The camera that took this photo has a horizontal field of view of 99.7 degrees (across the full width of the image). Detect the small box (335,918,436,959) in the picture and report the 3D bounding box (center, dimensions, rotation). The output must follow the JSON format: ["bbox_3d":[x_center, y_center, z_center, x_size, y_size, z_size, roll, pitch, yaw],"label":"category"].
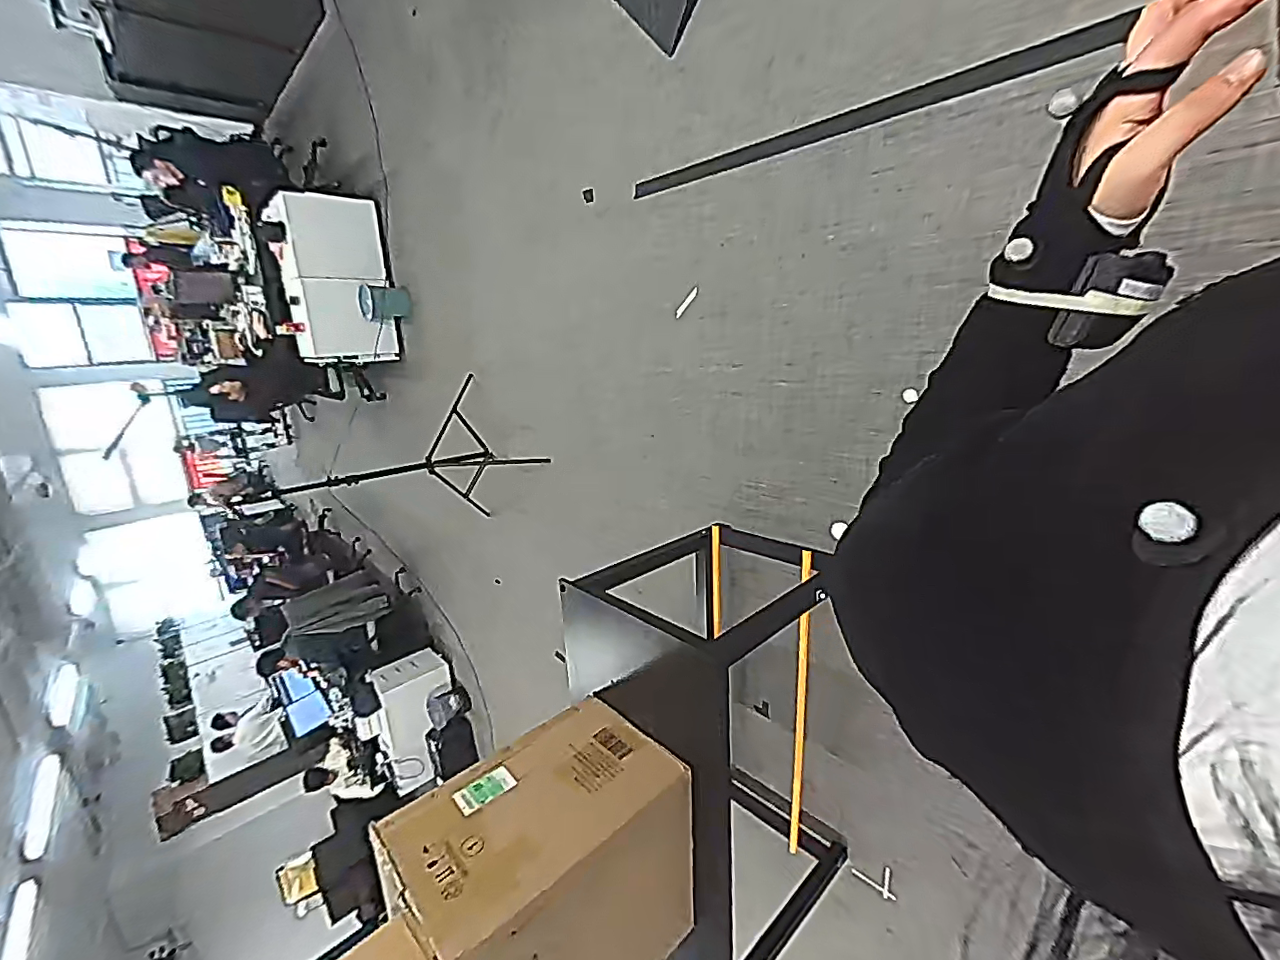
[{"bbox_3d":[-0.458,0.954,0.979,0.179,0.176,0.168,10,112,45],"label":"small box"}]
